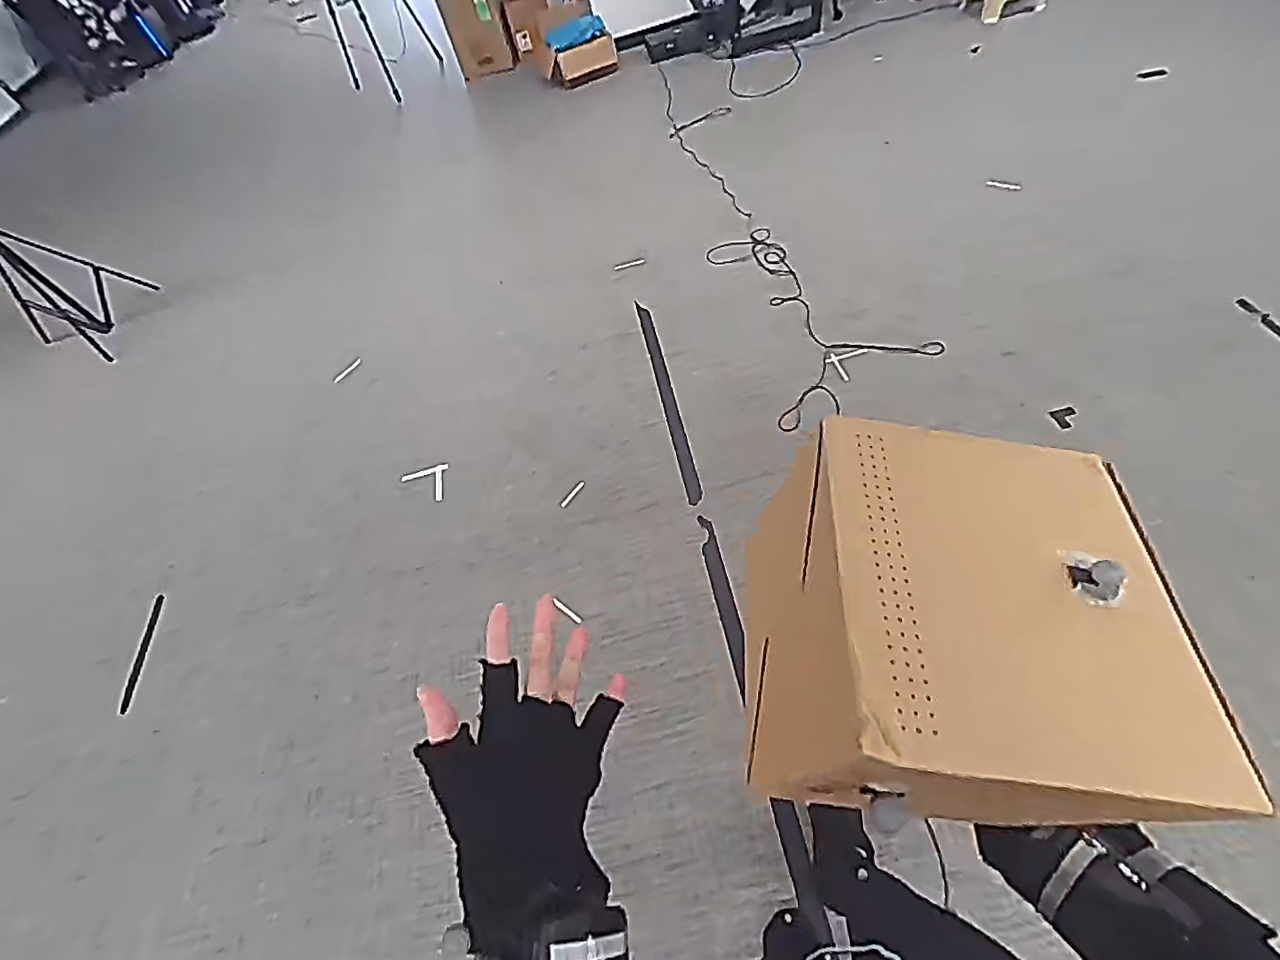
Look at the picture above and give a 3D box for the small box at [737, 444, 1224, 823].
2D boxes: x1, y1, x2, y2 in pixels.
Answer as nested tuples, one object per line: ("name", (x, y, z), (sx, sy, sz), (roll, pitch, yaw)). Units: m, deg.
("small box", (0.158, 0.096, 0.331), (0.176, 0.168, 0.179), (7, 55, 0))
